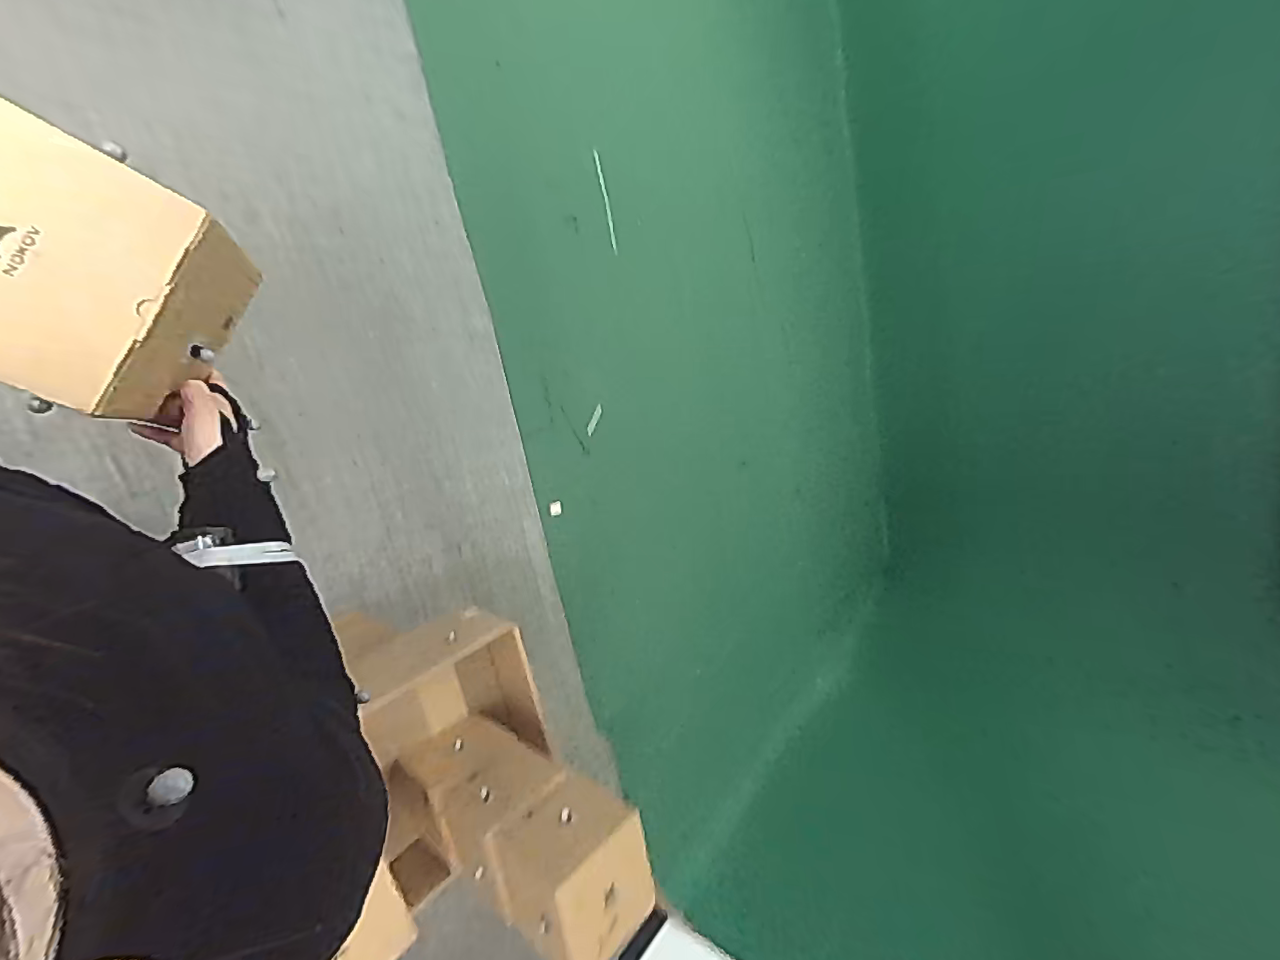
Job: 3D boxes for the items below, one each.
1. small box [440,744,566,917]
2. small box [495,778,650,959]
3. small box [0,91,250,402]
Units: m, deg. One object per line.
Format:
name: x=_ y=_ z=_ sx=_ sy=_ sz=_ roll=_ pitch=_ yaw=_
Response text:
small box: x=-0.234 y=0.605 z=0.968 sx=0.168 sy=0.176 sz=0.179 roll=-22 pitch=107 yaw=-43
small box: x=-0.110 y=0.611 z=0.860 sx=0.168 sy=0.176 sz=0.179 roll=-19 pitch=105 yaw=-43
small box: x=-0.447 y=-0.166 z=0.417 sx=0.179 sy=0.176 sz=0.168 roll=26 pitch=84 yaw=-25
